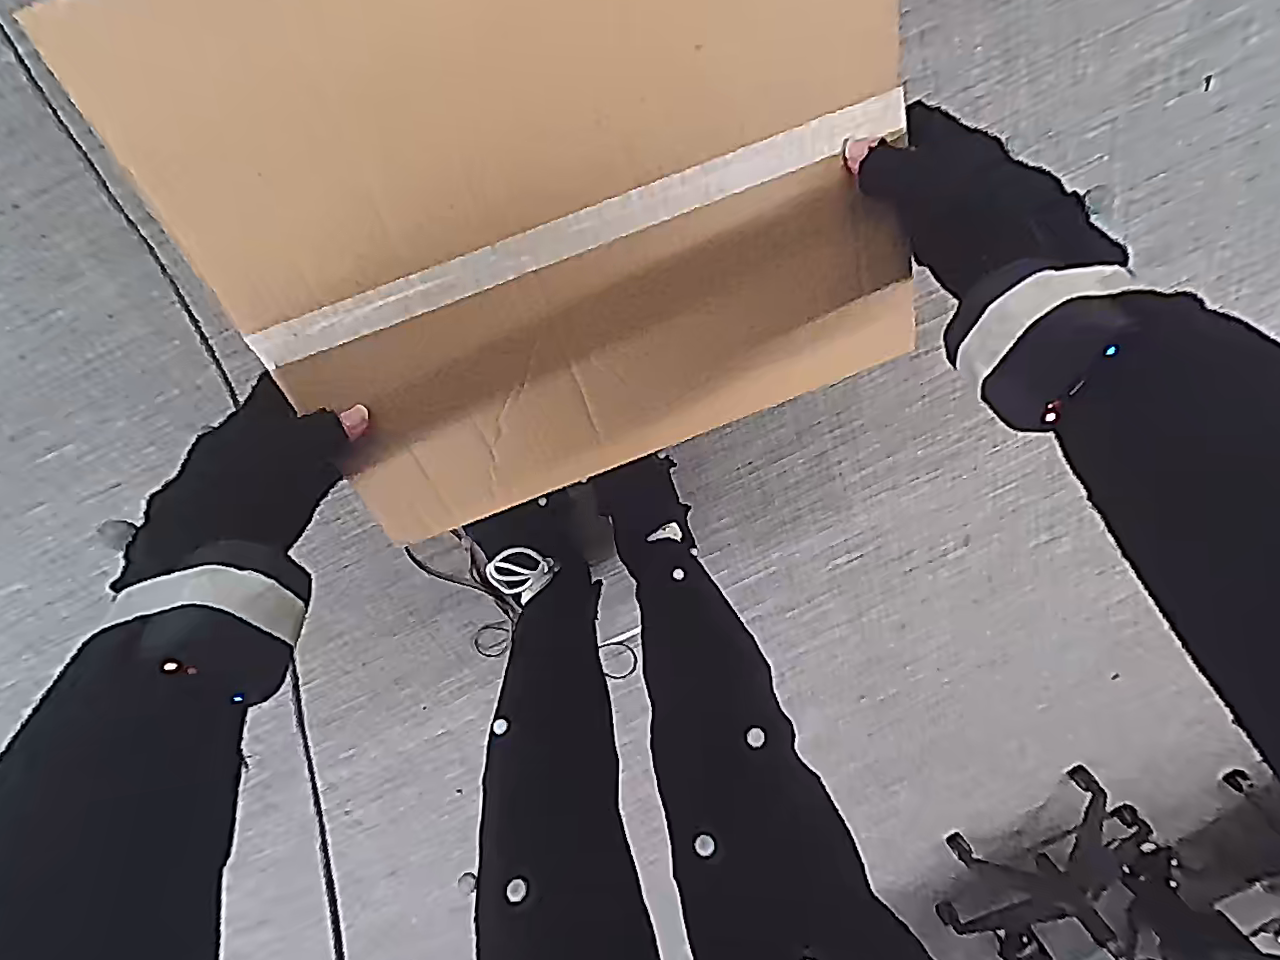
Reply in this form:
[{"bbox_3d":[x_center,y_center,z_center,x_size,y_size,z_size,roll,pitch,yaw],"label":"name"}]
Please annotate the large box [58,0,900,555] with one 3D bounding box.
[{"bbox_3d":[-0.065,-0.210,0.449,0.408,0.320,0.320,-22,121,-1],"label":"large box"}]
